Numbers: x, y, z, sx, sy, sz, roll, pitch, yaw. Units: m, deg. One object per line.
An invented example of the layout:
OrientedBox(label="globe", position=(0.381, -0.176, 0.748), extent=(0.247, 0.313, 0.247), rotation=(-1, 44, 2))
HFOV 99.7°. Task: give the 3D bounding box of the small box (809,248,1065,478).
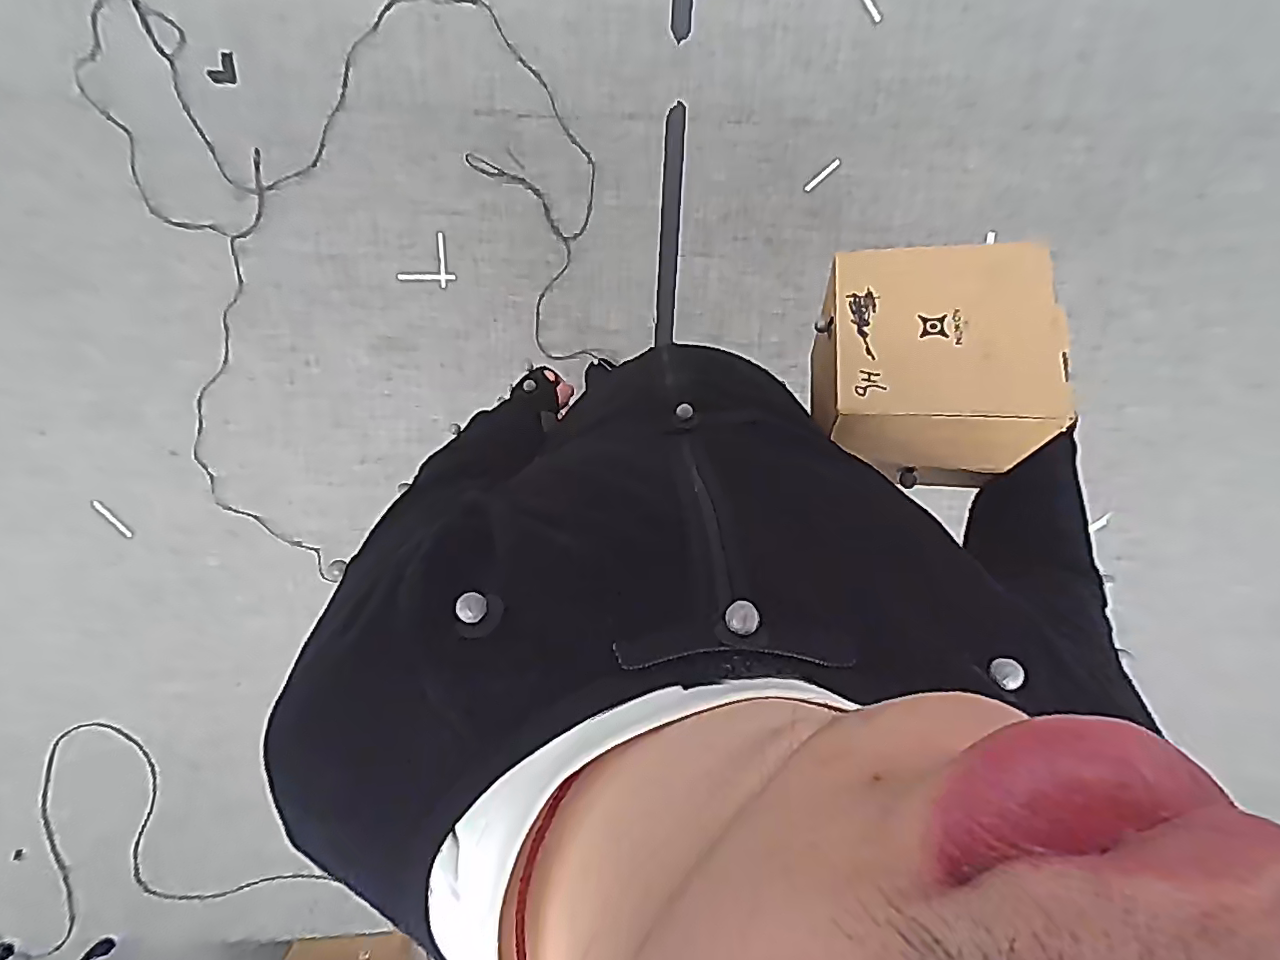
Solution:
OrientedBox(label="small box", position=(0.273, -0.106, 0.541), extent=(0.179, 0.176, 0.168), rotation=(3, 71, 11))
